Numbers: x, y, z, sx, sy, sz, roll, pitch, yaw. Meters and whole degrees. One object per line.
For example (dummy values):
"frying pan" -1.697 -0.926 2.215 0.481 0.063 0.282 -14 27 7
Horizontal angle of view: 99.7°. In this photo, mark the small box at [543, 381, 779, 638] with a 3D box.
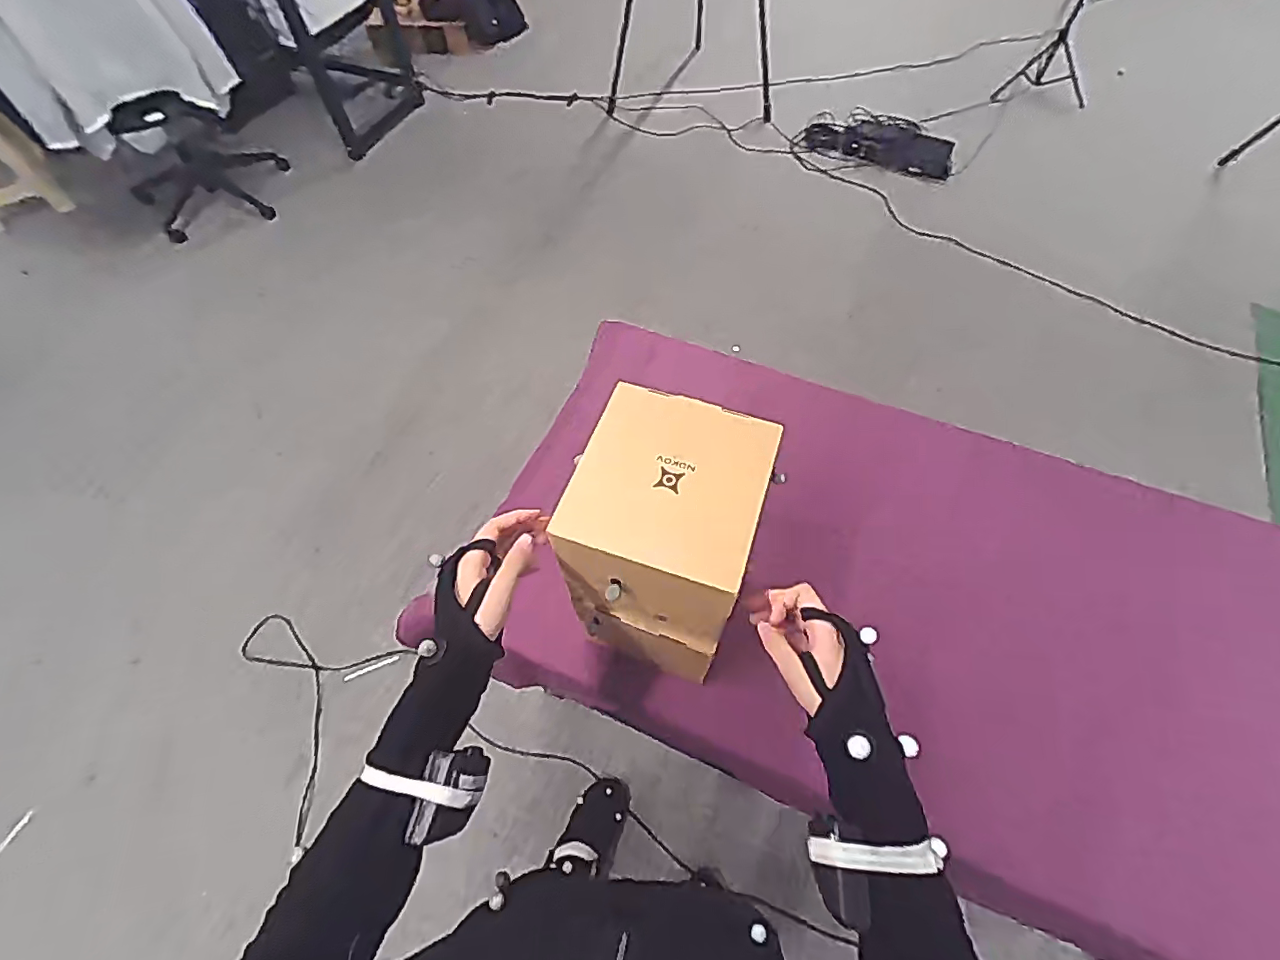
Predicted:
"small box" 0.026 0.037 0.539 0.168 0.176 0.179 17 60 11
